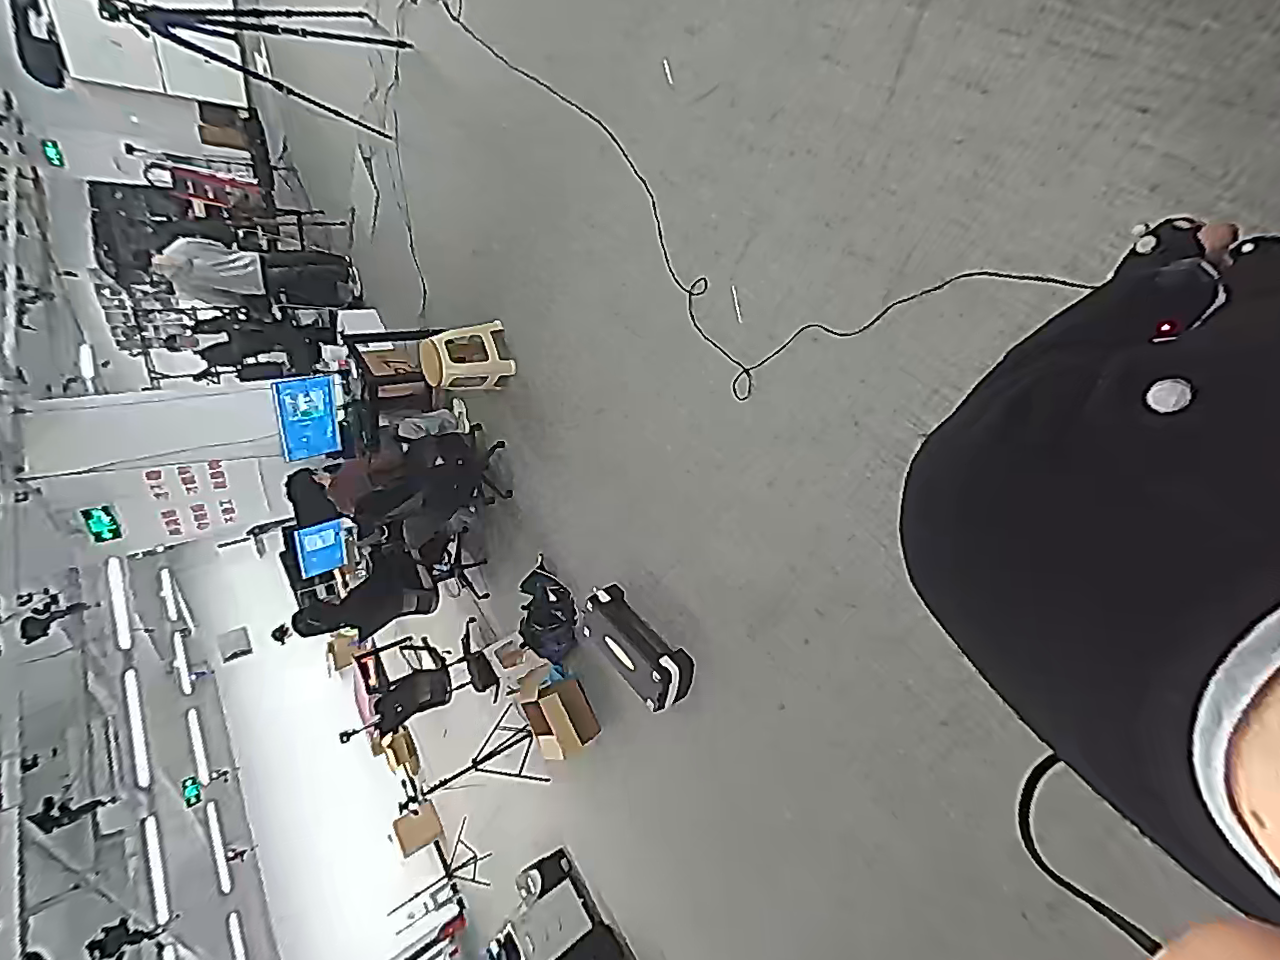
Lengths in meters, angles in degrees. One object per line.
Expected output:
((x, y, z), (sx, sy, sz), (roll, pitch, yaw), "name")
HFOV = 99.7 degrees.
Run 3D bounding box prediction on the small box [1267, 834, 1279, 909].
((1.114, 0.616, 0.804), (0.179, 0.176, 0.168), (39, 134, 36), "small box")
